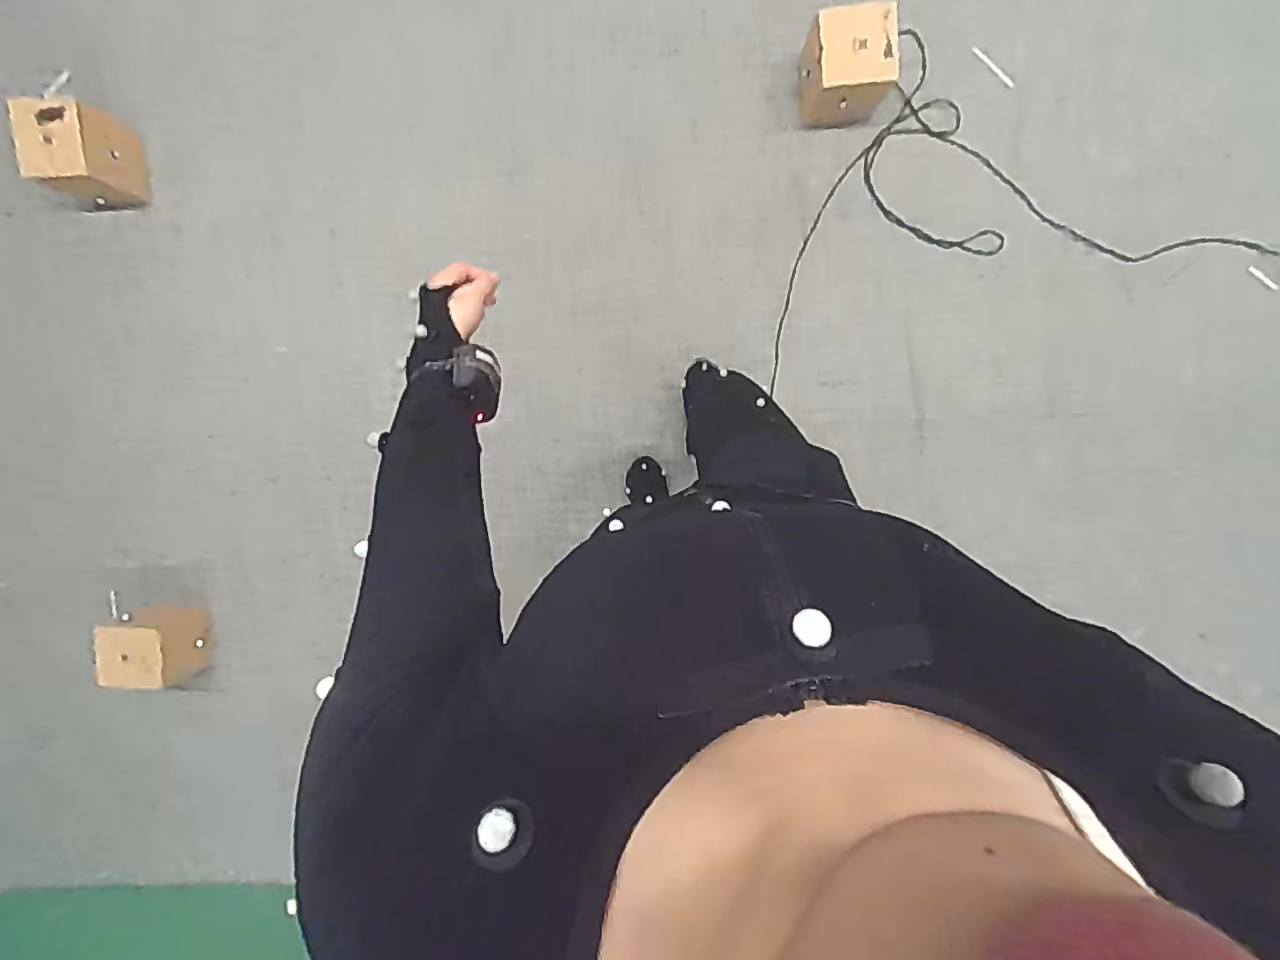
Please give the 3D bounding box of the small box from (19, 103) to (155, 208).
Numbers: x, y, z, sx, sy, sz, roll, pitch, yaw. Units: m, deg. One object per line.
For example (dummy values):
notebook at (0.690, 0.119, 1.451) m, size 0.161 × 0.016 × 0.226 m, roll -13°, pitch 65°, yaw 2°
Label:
small box at (-1.380, -0.809, 1.360) m, size 0.168 × 0.176 × 0.179 m, roll -1°, pitch 96°, yaw 2°

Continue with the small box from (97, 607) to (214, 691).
small box at (-1.317, 0.455, 1.479) m, size 0.179 × 0.176 × 0.168 m, roll 3°, pitch 96°, yaw 1°

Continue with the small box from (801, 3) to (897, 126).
small box at (0.488, -0.972, 1.283) m, size 0.179 × 0.176 × 0.168 m, roll -5°, pitch 96°, yaw 3°
